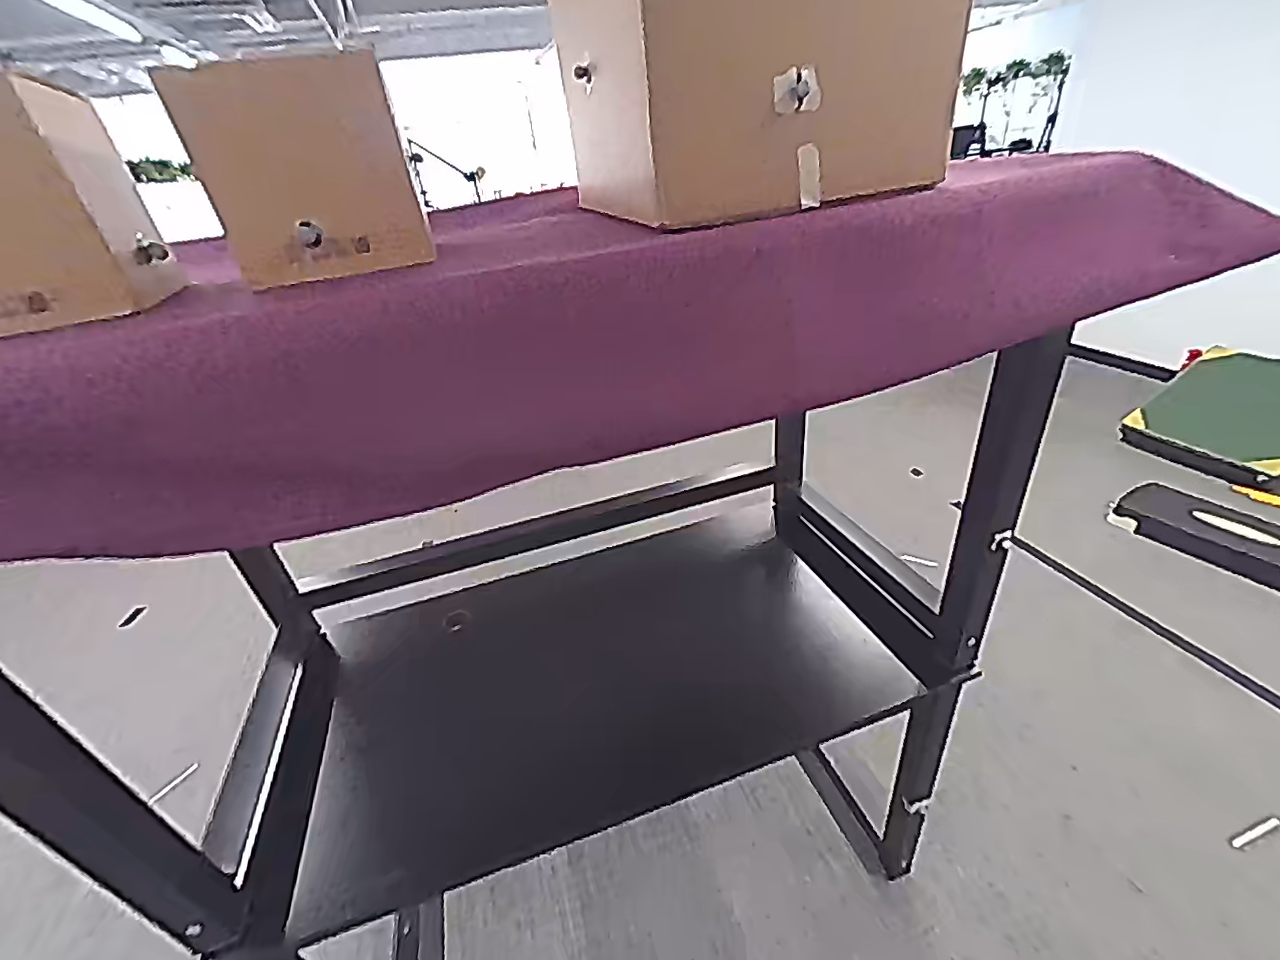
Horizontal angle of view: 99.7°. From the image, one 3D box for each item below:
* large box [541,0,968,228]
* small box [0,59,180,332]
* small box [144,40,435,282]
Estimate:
[{"bbox_3d":[0.087,-0.480,0.601,0.320,0.320,0.408,-14,31,-11],"label":"large box"},{"bbox_3d":[-0.527,-0.221,0.444,0.168,0.176,0.179,-20,33,-19],"label":"small box"},{"bbox_3d":[-0.309,-0.300,0.527,0.168,0.176,0.179,-16,33,-13],"label":"small box"}]
